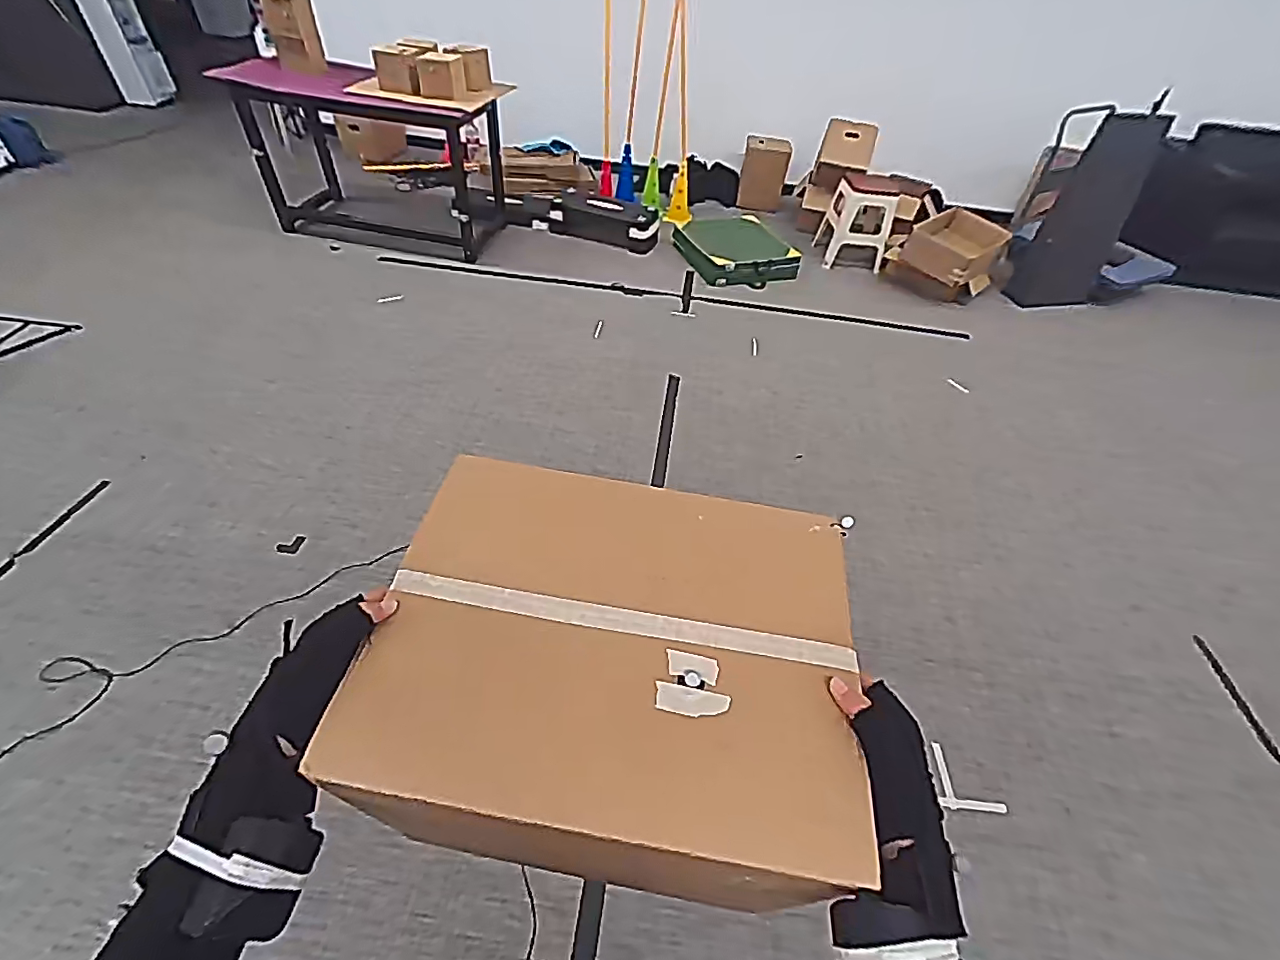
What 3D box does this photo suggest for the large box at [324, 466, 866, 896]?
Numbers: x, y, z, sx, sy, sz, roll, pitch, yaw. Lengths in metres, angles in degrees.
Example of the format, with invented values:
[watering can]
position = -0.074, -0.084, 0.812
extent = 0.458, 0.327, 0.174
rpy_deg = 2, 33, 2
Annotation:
[large box]
position = -0.028, 0.223, 0.593
extent = 0.408, 0.320, 0.320
rpy_deg = 10, 50, 2
